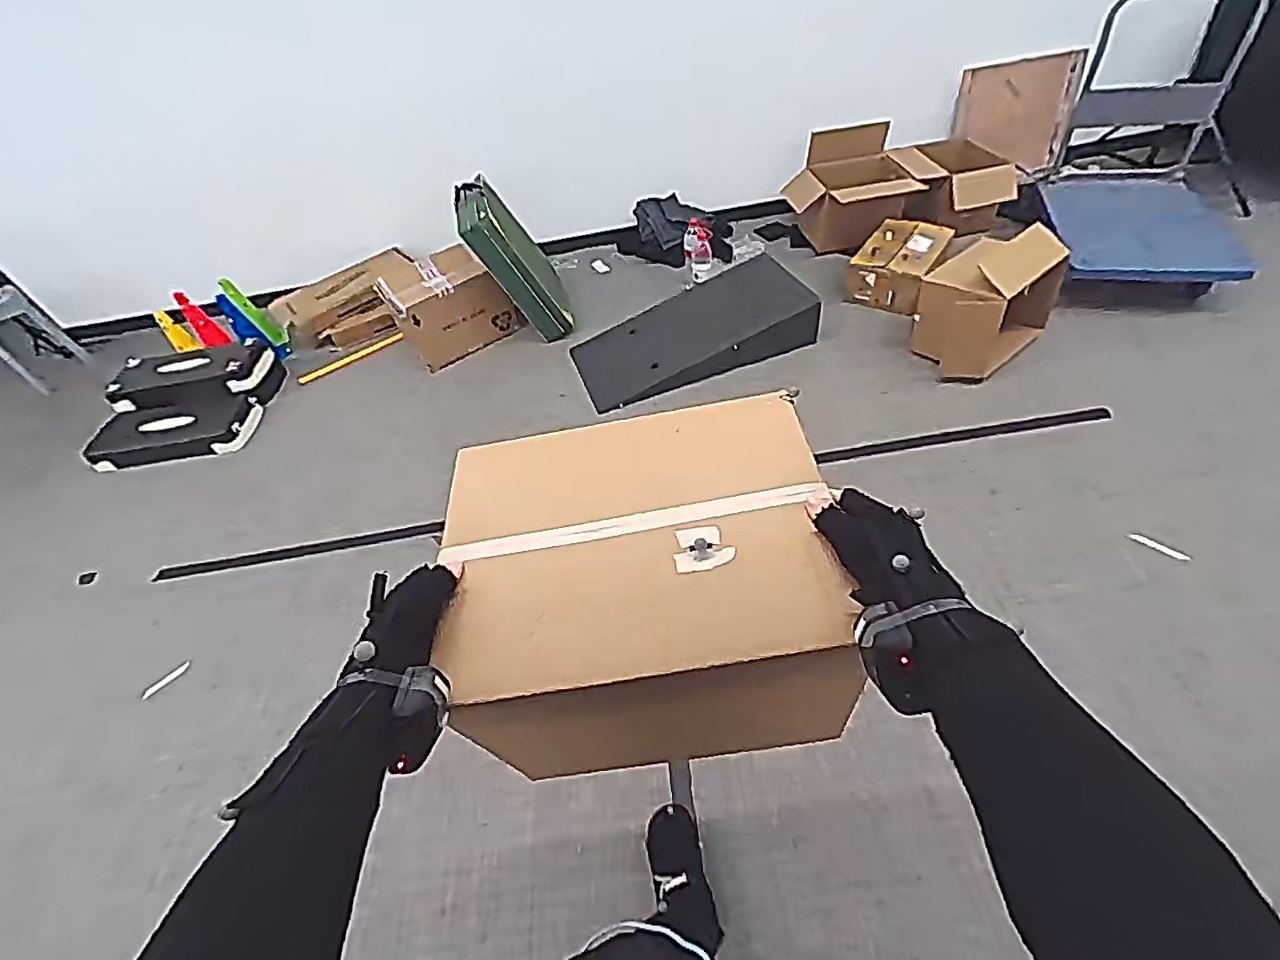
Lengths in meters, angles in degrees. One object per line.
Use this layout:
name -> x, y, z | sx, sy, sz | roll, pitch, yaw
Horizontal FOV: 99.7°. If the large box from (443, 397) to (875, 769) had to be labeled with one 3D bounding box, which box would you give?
large box -> 0.018, 0.140, 0.688 | 0.408, 0.320, 0.320 | -10, 51, 3
